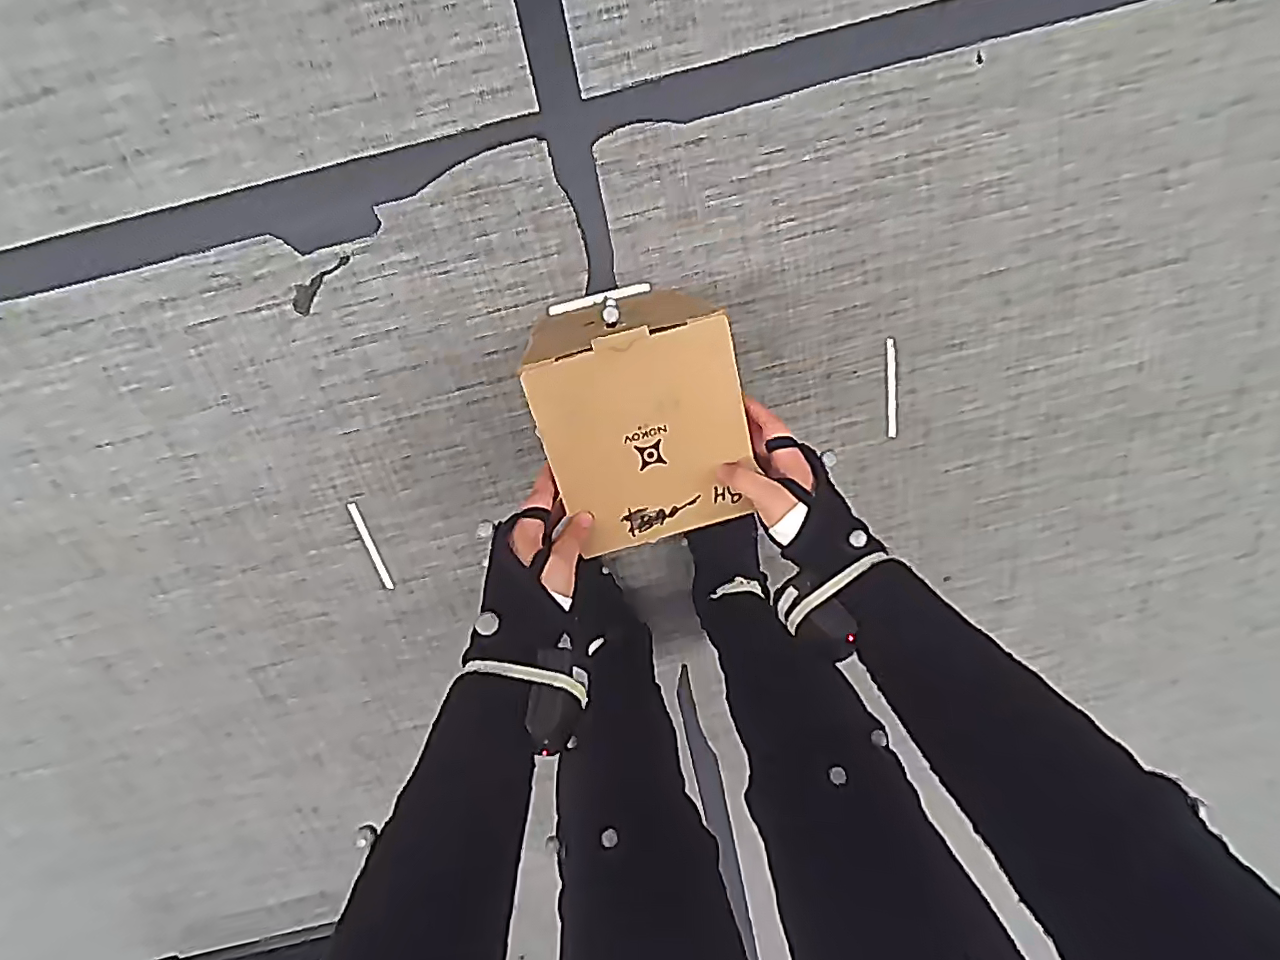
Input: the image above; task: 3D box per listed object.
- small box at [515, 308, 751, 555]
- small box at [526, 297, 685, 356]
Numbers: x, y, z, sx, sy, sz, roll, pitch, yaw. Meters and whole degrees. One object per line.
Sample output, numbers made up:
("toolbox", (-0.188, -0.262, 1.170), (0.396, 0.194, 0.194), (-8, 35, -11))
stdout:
("small box", (-0.009, -0.060, 0.519), (0.168, 0.176, 0.179), (-16, 112, 0))
("small box", (-0.029, -0.123, 0.670), (0.179, 0.176, 0.168), (-14, 112, 0))
